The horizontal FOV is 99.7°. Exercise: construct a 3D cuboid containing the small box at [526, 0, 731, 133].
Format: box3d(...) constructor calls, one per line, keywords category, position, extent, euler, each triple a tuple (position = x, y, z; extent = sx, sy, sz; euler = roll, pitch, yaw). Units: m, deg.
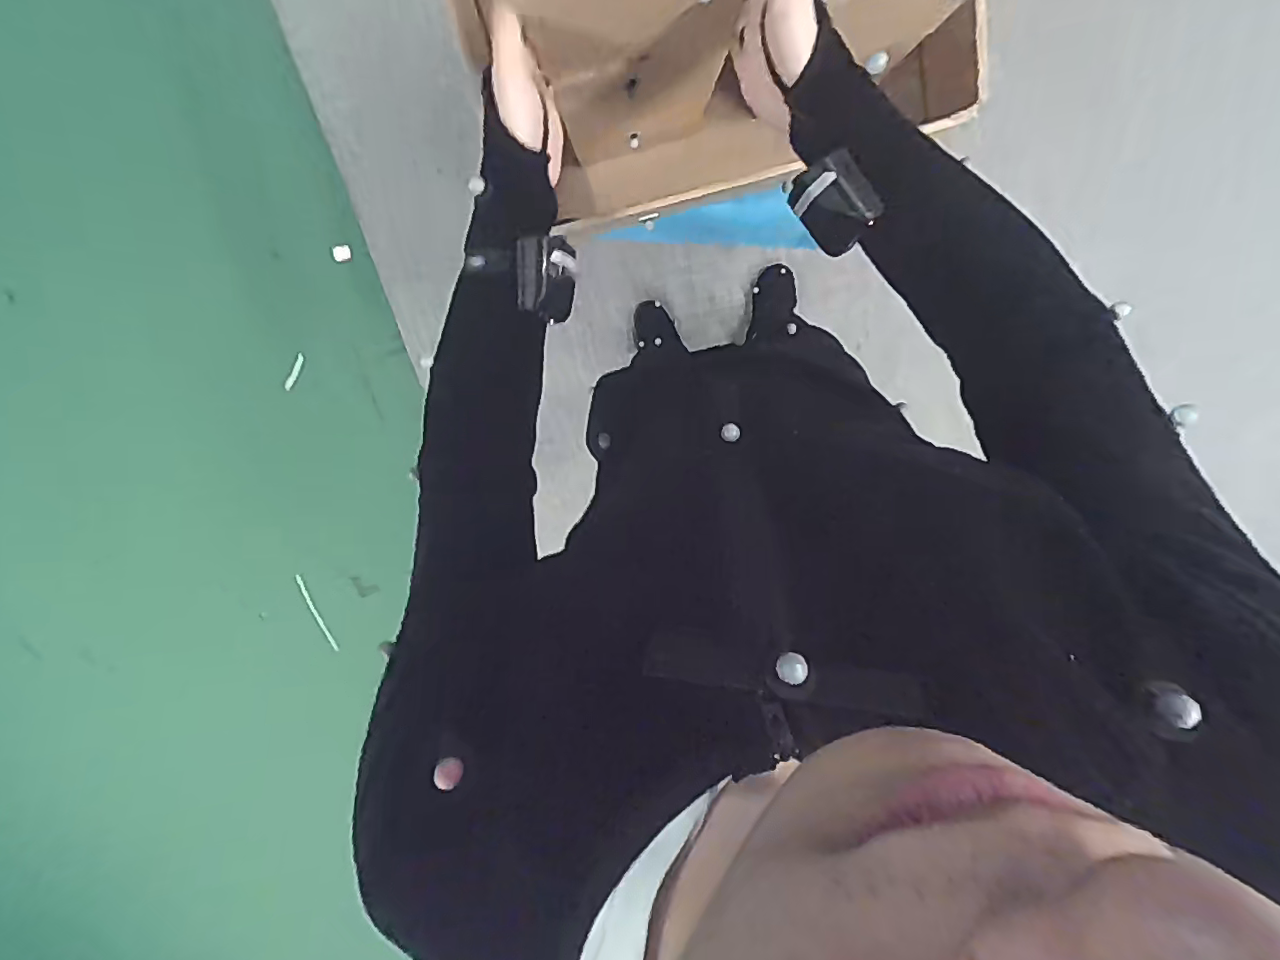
box3d(category="small box", position=(-0.019, -0.480, 0.544), extent=(0.179, 0.176, 0.168), euler=(-14, 108, 4))
